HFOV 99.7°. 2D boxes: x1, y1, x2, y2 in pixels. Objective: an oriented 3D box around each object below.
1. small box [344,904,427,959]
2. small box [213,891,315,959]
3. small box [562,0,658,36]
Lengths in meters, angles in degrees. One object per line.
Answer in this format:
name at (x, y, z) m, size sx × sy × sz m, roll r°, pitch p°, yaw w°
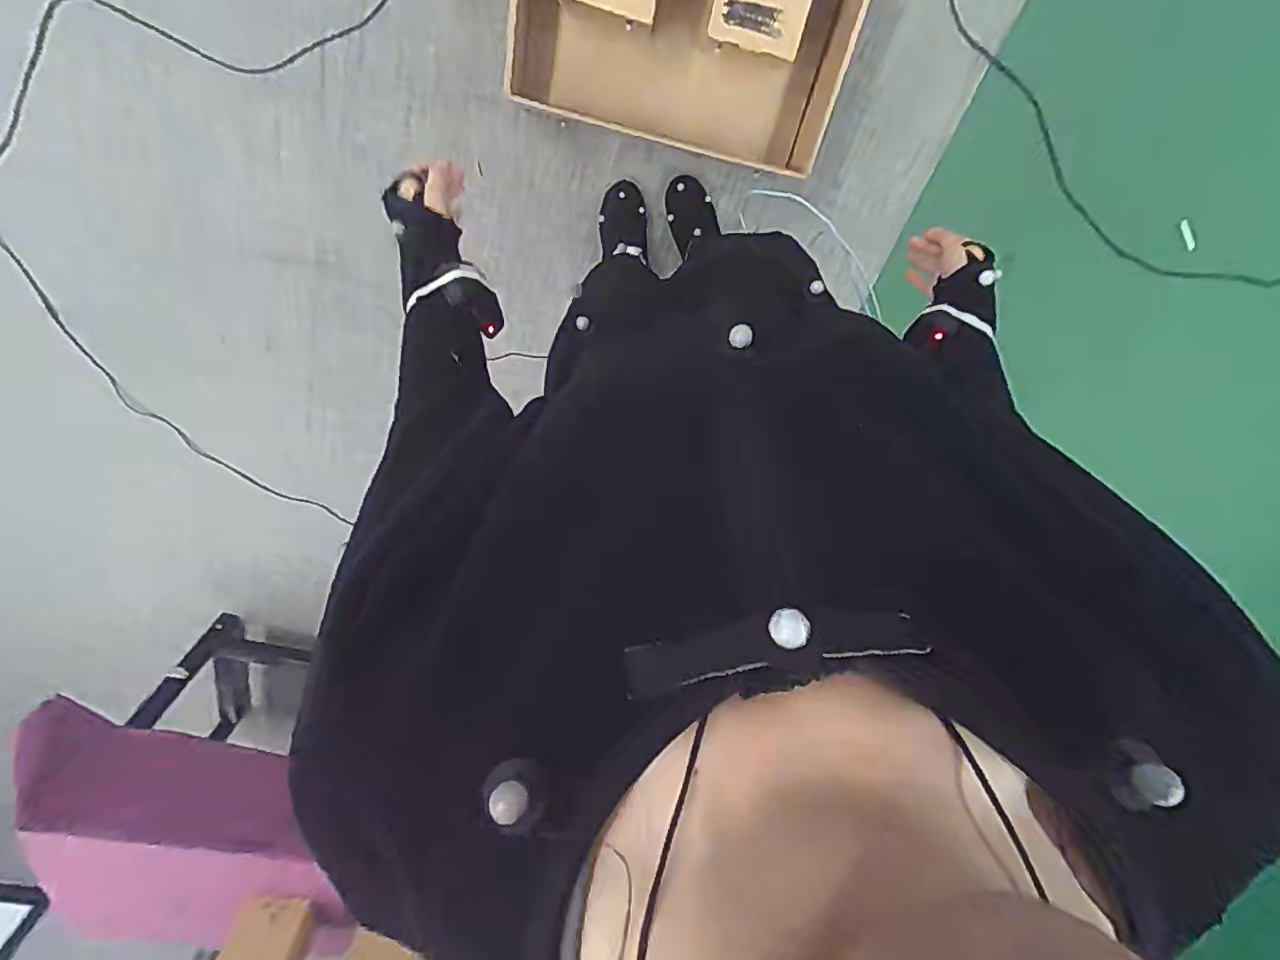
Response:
small box at (-0.714, 1.313, 1.500) m, size 0.179 × 0.176 × 0.168 m, roll 13°, pitch 120°, yaw -9°
small box at (-1.001, 1.244, 1.453) m, size 0.168 × 0.176 × 0.179 m, roll 9°, pitch 120°, yaw -7°
small box at (-0.045, -0.917, 0.953) m, size 0.179 × 0.176 × 0.168 m, roll 10°, pitch 122°, yaw -9°
